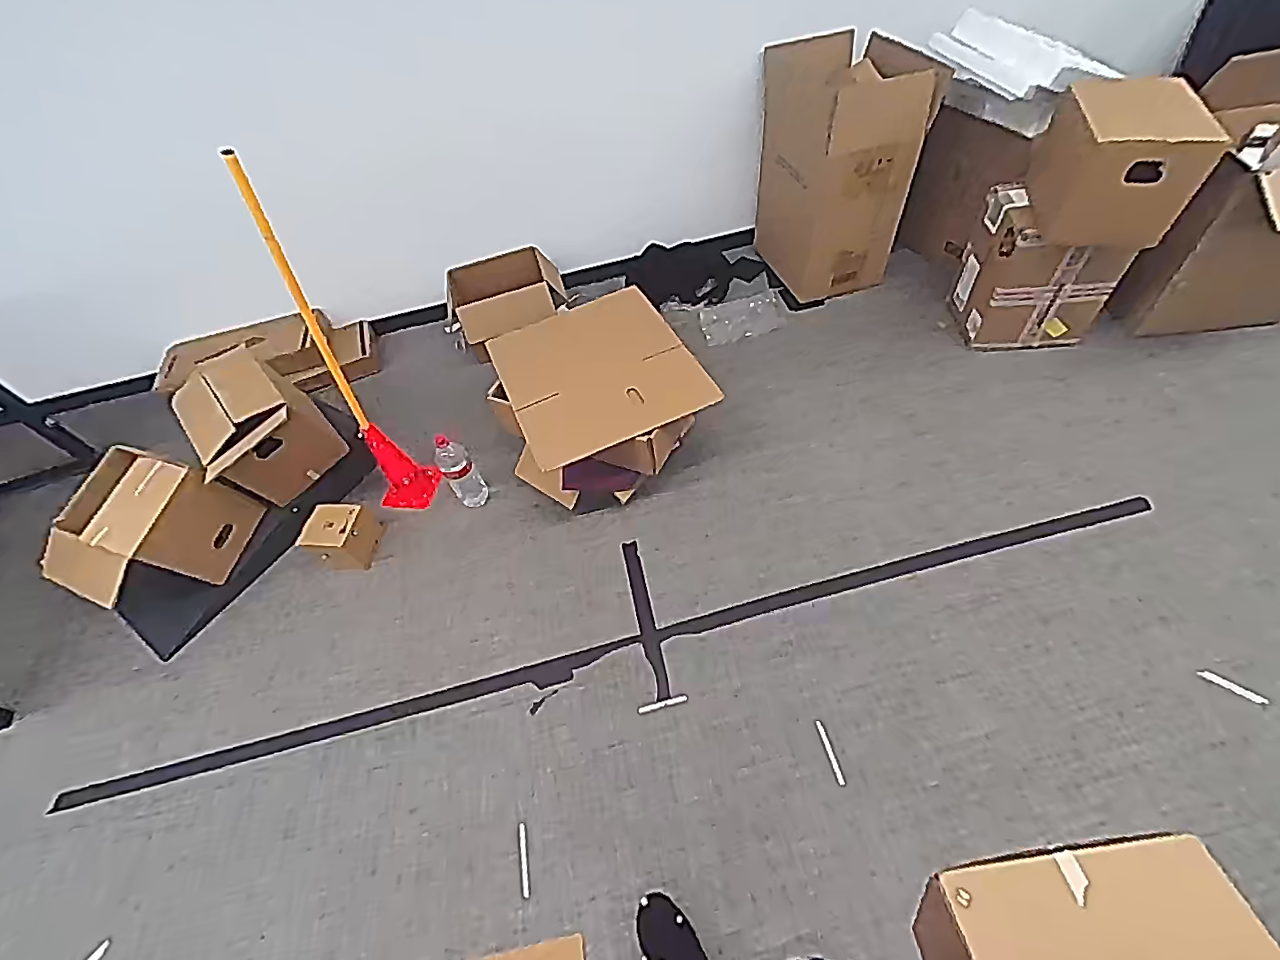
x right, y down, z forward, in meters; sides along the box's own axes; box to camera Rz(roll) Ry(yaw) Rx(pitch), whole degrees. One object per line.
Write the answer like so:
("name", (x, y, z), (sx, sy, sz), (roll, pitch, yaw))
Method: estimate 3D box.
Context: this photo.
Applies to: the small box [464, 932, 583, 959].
("small box", (-0.142, 0.737, 0.678), (0.168, 0.176, 0.179), (-5, 10, -10))
